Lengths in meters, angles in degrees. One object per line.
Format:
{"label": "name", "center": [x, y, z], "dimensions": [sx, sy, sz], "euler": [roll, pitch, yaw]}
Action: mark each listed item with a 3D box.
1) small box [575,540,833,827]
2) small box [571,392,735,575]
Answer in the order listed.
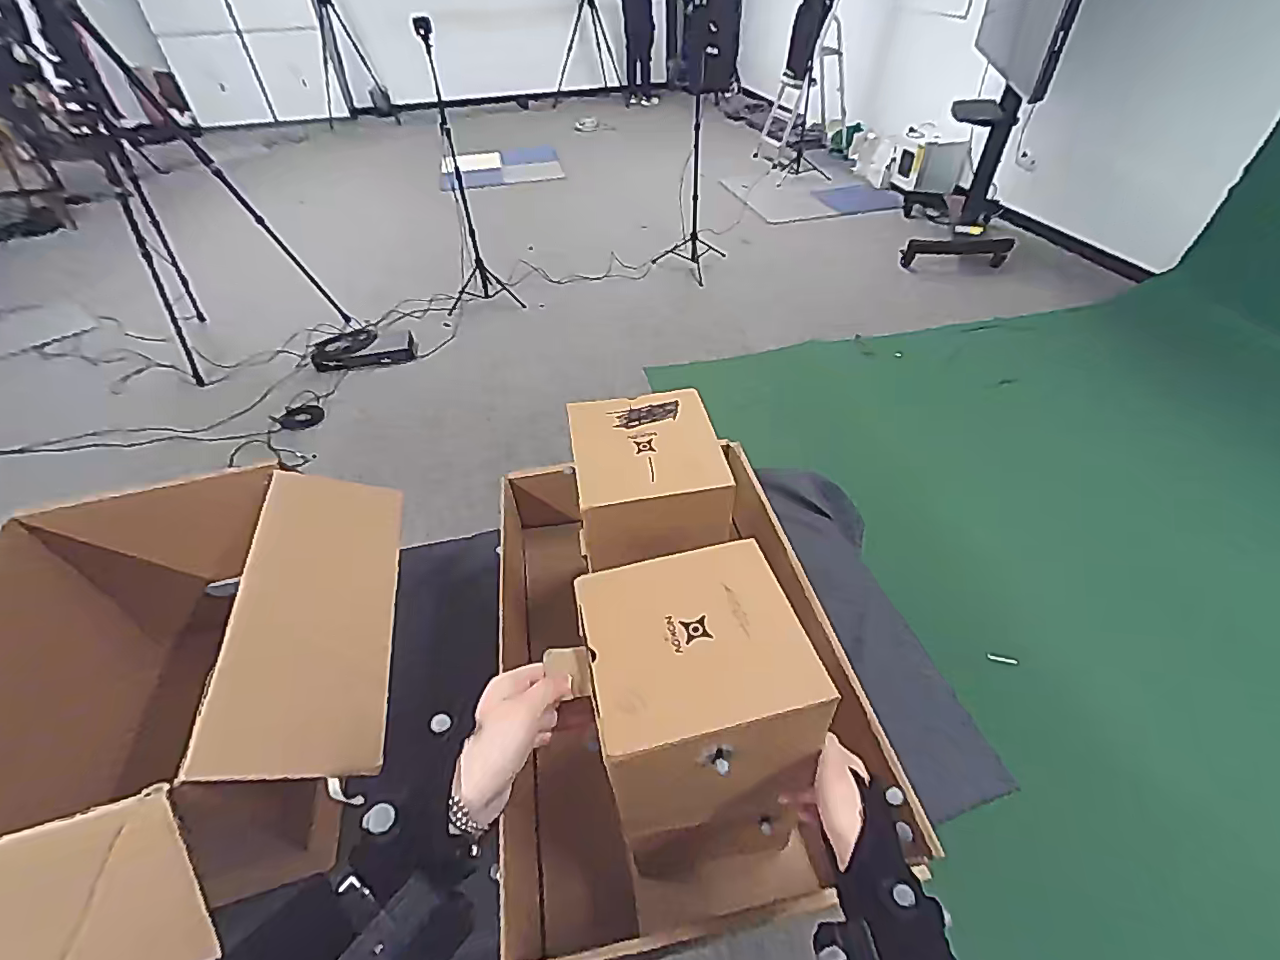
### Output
{"label": "small box", "center": [0.048, 0.185, 0.494], "dimensions": [0.179, 0.176, 0.168], "euler": [-12, 42, -7]}
{"label": "small box", "center": [0.009, 0.016, 0.674], "dimensions": [0.168, 0.176, 0.179], "euler": [-8, 47, -5]}
